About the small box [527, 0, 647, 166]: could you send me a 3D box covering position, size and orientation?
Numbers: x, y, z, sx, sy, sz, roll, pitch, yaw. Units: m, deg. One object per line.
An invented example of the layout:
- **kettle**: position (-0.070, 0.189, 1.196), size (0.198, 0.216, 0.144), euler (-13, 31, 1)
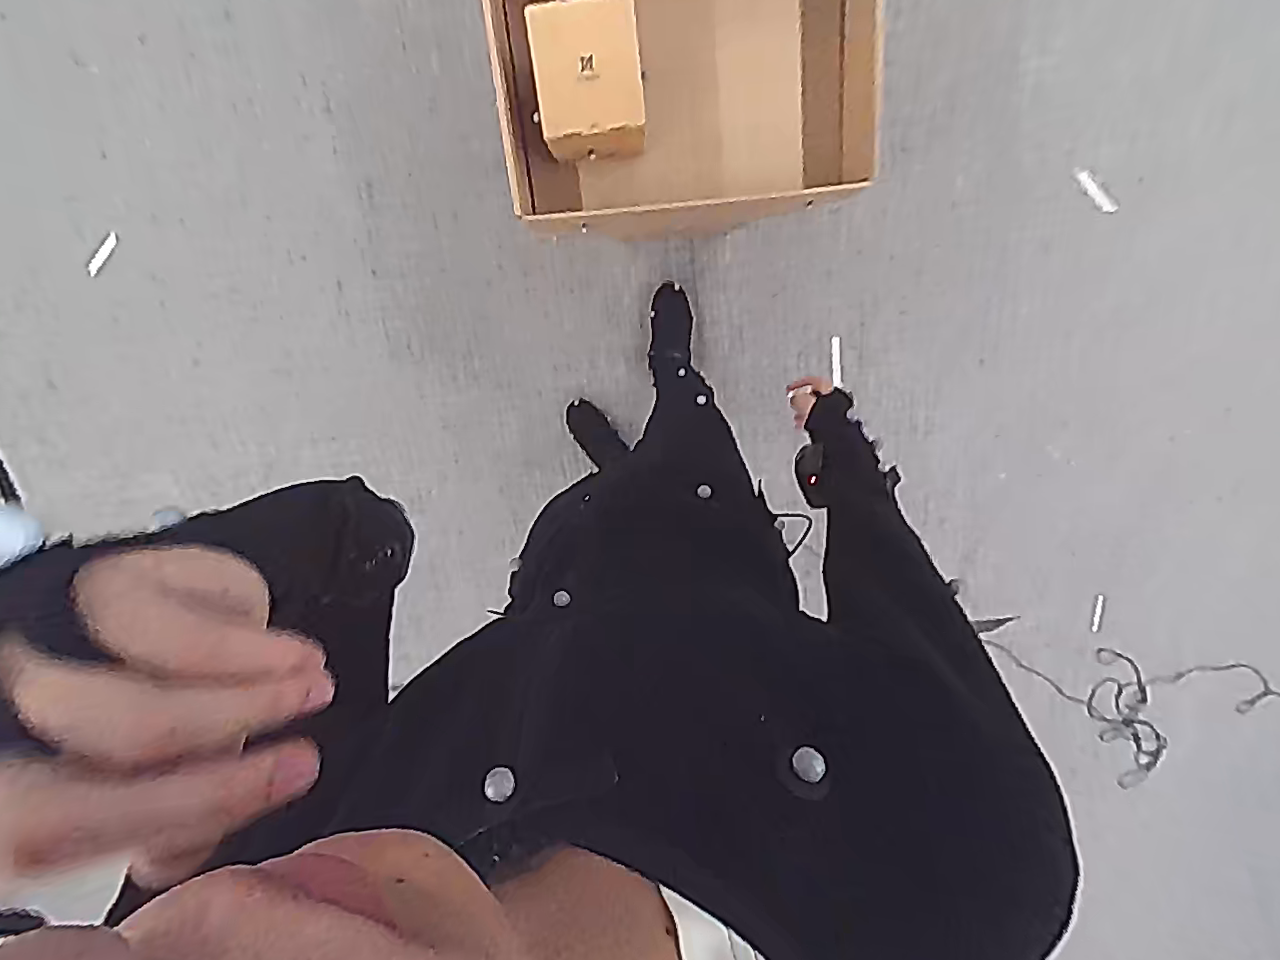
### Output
- **small box**: position (-0.082, -0.652, 0.904), size (0.168, 0.176, 0.179), euler (-7, 108, 1)
